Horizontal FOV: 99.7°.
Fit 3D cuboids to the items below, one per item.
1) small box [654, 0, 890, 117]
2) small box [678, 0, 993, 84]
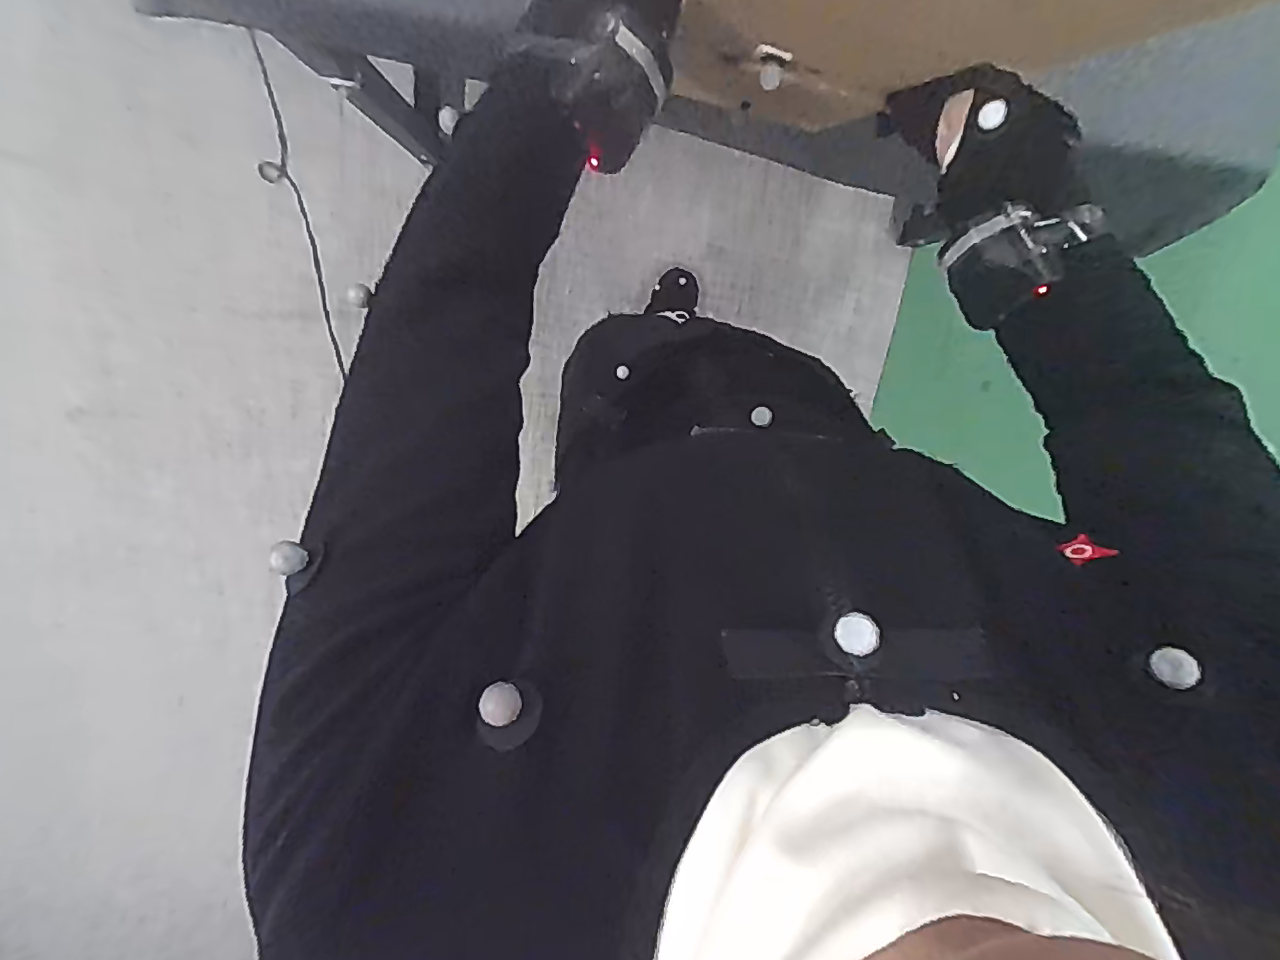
[{"bbox_3d":[0.117,-0.416,0.441,0.179,0.176,0.168,9,117,-8],"label":"small box"},{"bbox_3d":[0.121,-0.349,0.292,0.168,0.176,0.179,10,118,-7],"label":"small box"}]
